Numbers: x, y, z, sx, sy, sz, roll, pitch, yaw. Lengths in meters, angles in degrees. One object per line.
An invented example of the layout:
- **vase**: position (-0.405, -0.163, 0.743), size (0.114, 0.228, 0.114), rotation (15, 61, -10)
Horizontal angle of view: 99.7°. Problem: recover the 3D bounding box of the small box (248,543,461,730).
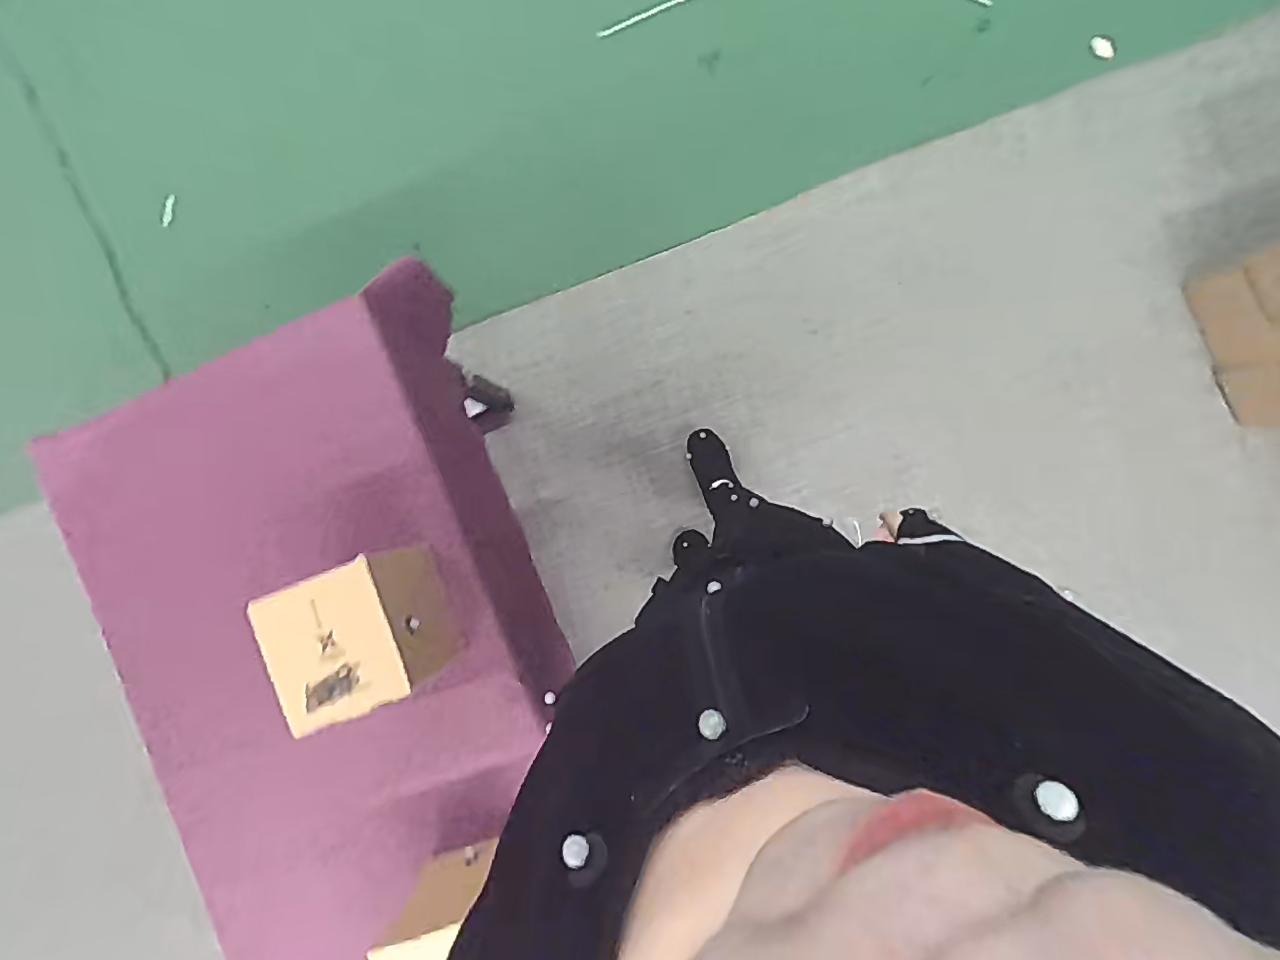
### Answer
- **small box**: position (-0.374, 0.200, 0.740), size (0.168, 0.176, 0.179), rotation (-22, 87, 4)
